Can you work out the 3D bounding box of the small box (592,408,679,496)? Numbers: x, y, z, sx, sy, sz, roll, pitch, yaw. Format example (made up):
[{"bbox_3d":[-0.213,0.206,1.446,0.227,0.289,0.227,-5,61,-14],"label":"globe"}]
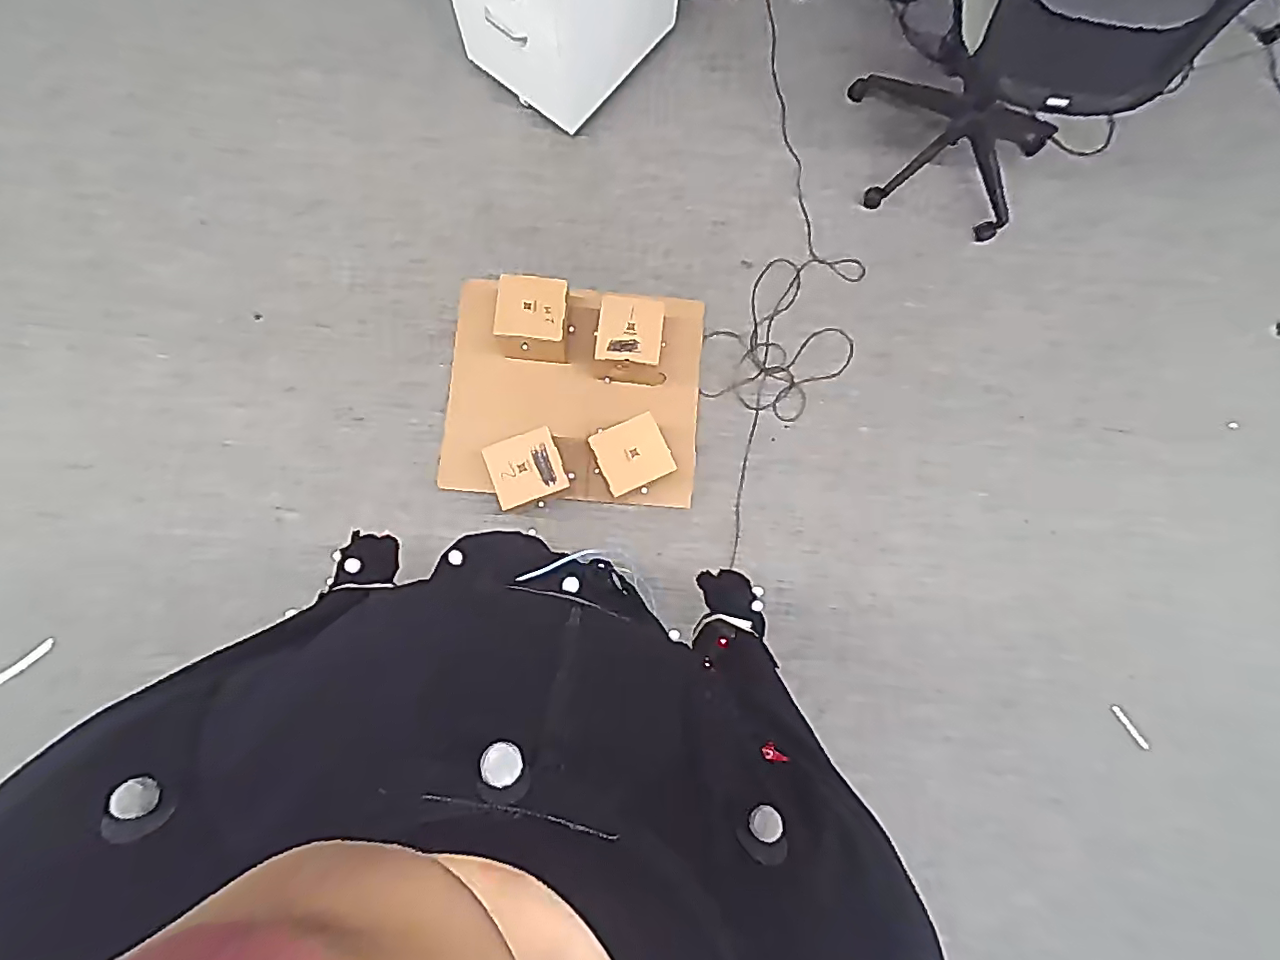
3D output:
[{"bbox_3d":[-0.016,-0.068,1.428,0.179,0.176,0.168,-24,84,-4],"label":"small box"}]
